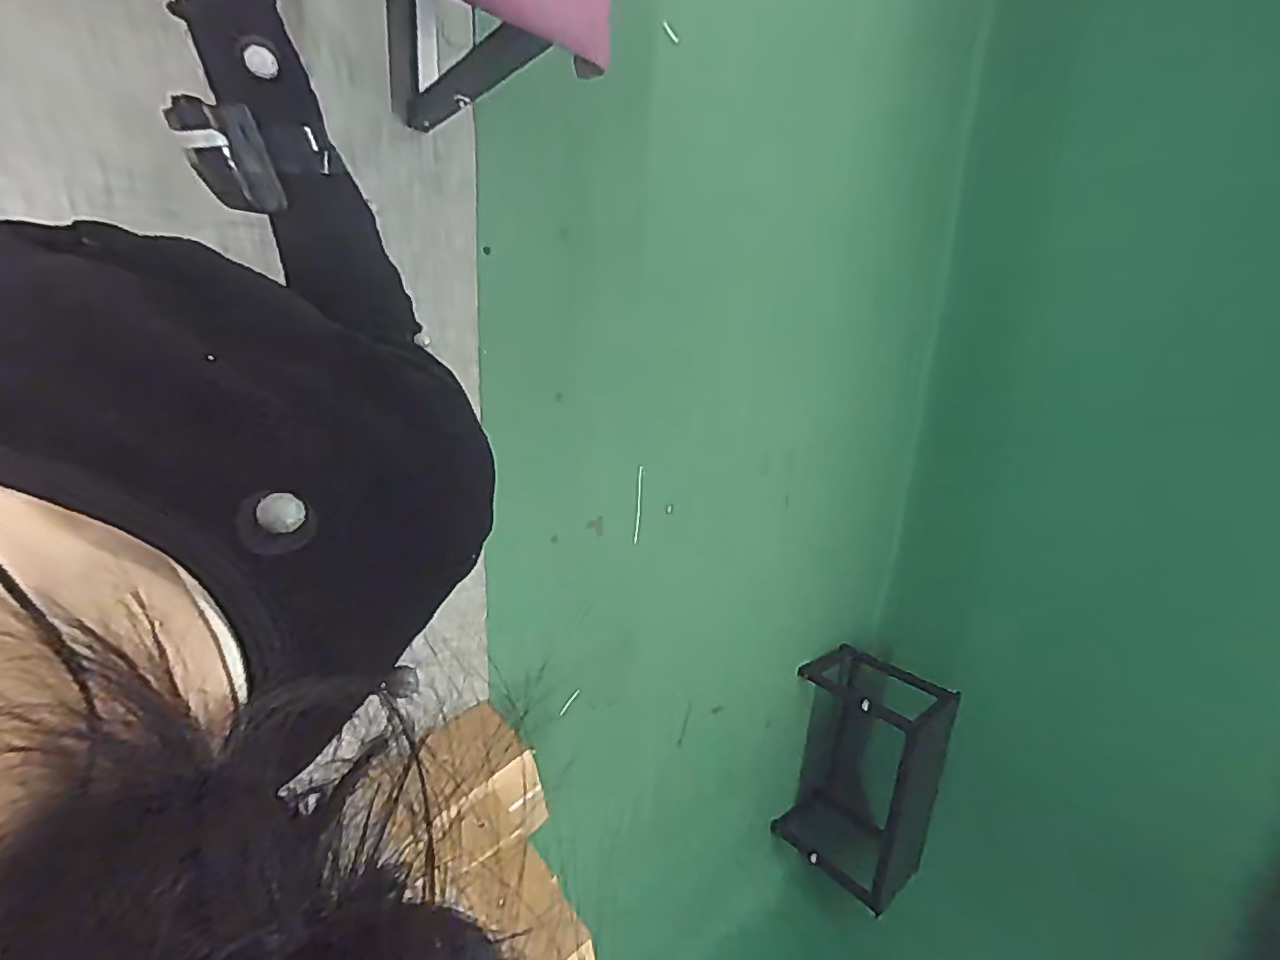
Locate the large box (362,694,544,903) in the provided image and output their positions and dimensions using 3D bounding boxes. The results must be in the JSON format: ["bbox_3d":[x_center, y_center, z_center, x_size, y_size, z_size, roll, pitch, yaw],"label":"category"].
[{"bbox_3d":[-0.577,0.966,1.695,0.408,0.320,0.320,-27,121,-36],"label":"large box"}]

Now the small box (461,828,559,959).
[{"bbox_3d":[-0.331,1.042,1.377,0.179,0.176,0.168,-18,114,-38],"label":"small box"}]

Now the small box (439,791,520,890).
[{"bbox_3d":[-0.436,1.000,1.493,0.168,0.176,0.179,-19,115,-37],"label":"small box"}]
